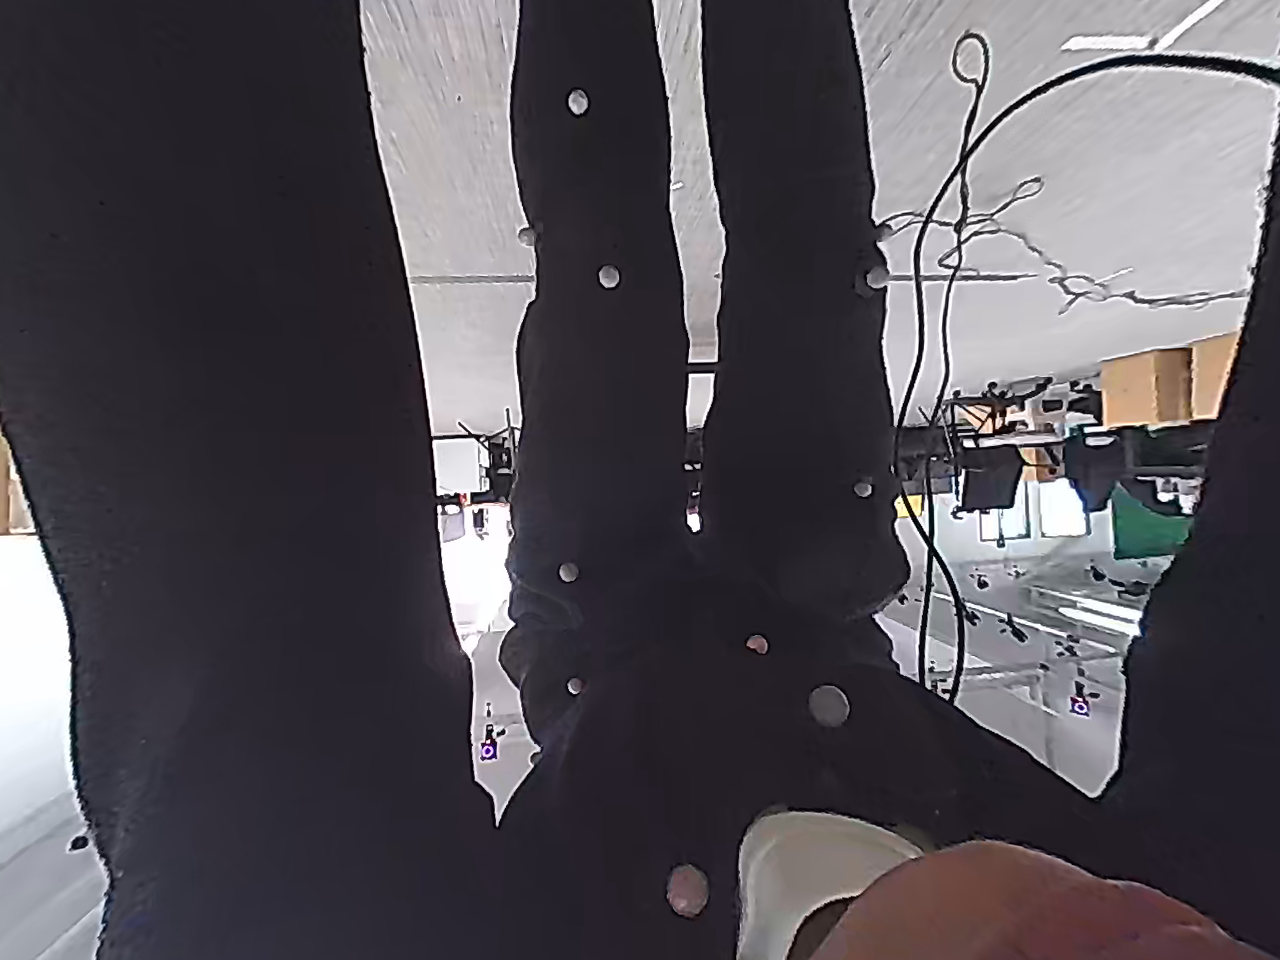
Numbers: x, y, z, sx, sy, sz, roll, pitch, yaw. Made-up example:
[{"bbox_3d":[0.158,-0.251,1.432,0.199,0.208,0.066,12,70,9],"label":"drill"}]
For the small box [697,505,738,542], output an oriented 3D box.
[{"bbox_3d":[0.391,0.220,2.693,0.179,0.168,0.176,-11,-177,-10],"label":"small box"}]
